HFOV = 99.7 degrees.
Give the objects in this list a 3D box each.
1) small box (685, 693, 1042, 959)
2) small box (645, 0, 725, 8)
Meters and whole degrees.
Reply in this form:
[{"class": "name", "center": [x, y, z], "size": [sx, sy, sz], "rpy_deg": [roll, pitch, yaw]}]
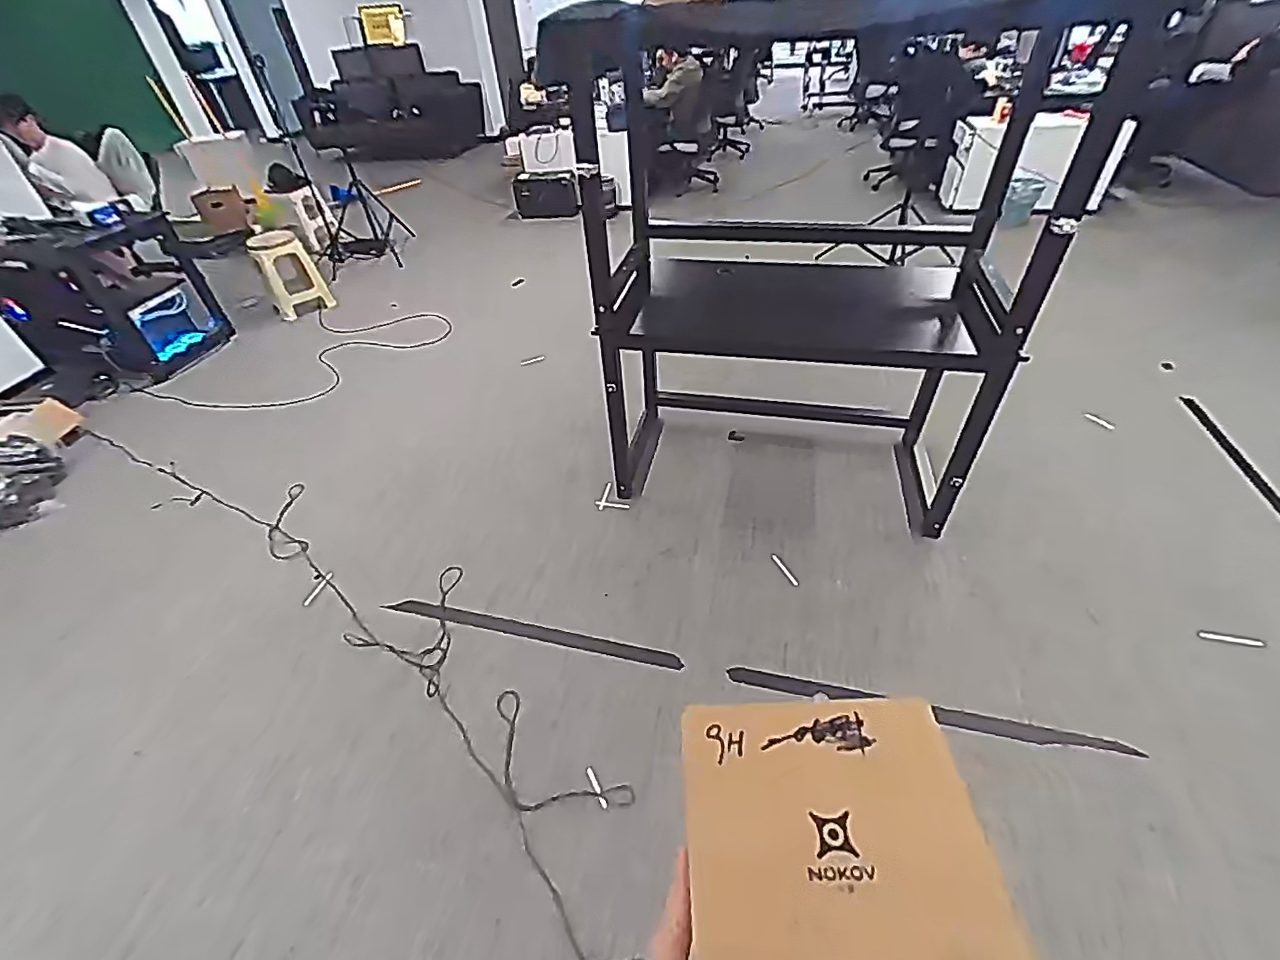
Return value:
[{"class": "small box", "center": [0.117, 0.261, 0.349], "size": [0.168, 0.176, 0.179], "rpy_deg": [-3, 42, 3]}, {"class": "small box", "center": [0.101, -1.121, 1.150], "size": [0.168, 0.176, 0.179], "rpy_deg": [7, 42, 11]}]
